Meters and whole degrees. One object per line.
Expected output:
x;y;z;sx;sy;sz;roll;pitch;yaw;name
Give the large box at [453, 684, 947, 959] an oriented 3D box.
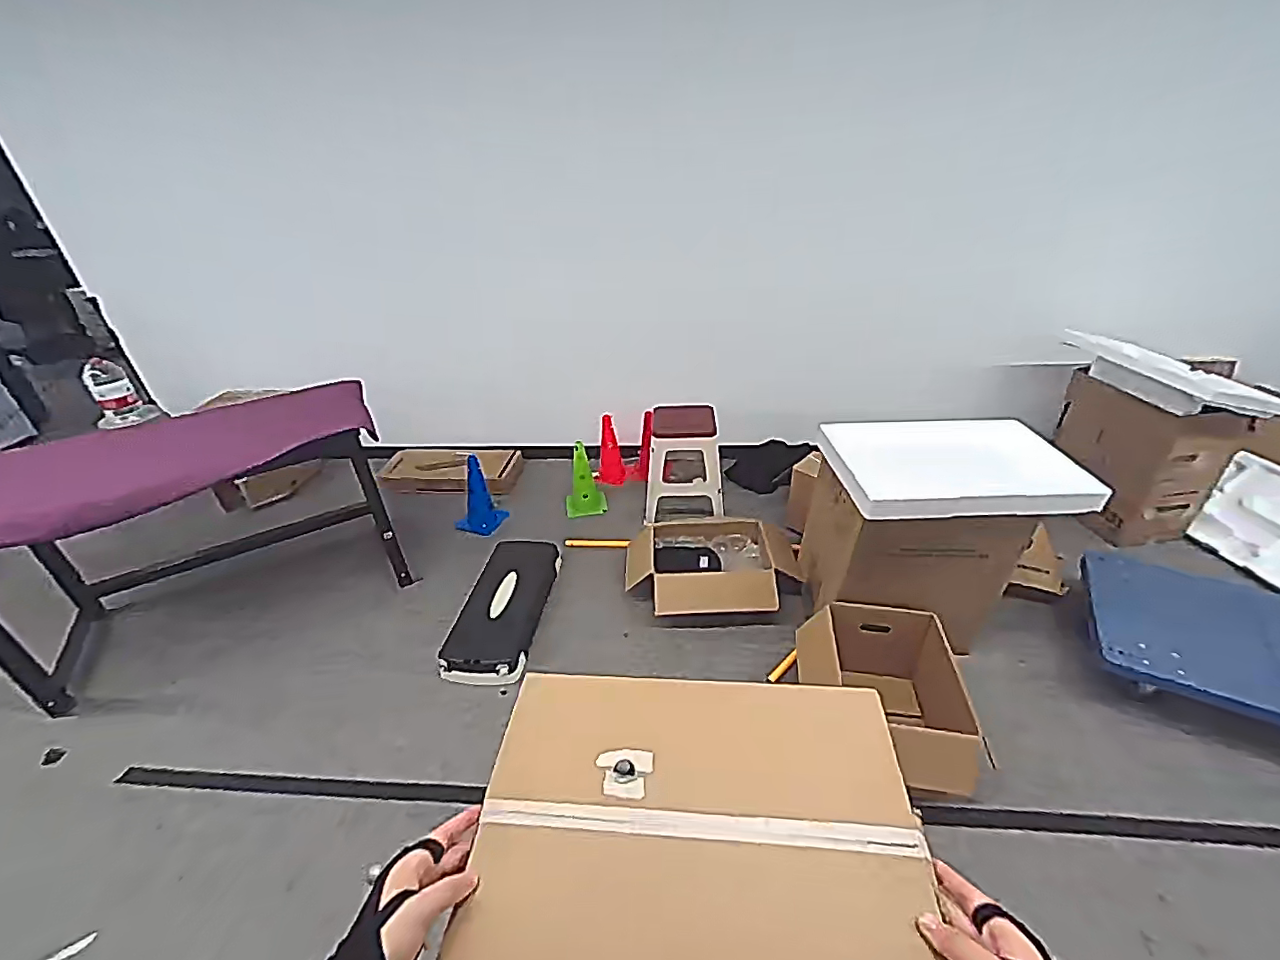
0.065;0.451;0.597;0.408;0.320;0.320;-1;34;8;large box
